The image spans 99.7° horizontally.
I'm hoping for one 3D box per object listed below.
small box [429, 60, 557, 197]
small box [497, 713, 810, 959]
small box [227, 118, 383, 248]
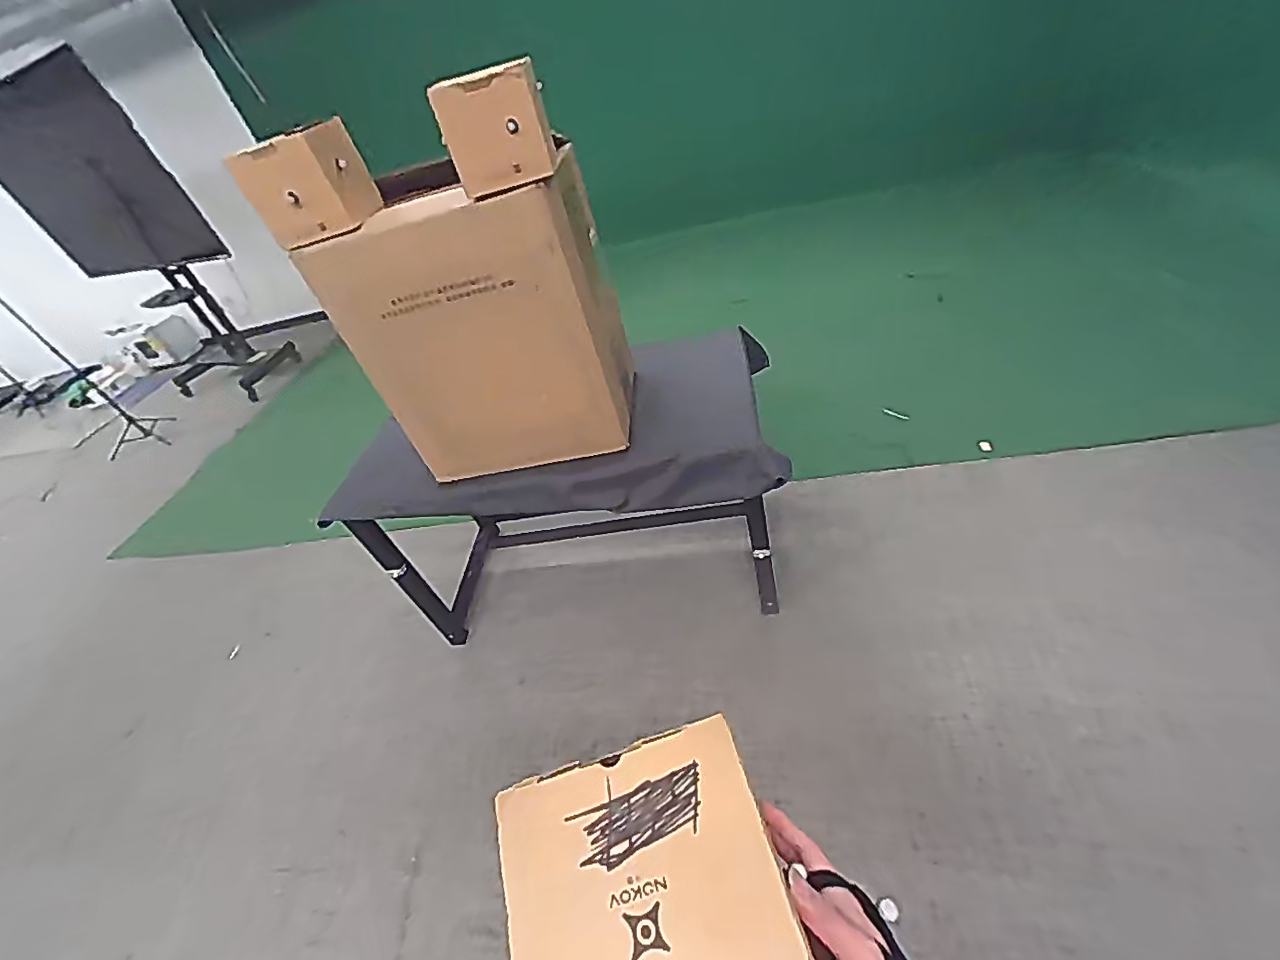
[{"bbox_3d":[-0.255,-0.635,0.984,0.168,0.176,0.179,-12,40,4],"label":"small box"},{"bbox_3d":[0.017,0.292,0.378,0.168,0.176,0.179,-20,54,1],"label":"small box"},{"bbox_3d":[-0.640,-0.576,1.063,0.168,0.176,0.179,-13,41,9],"label":"small box"}]
